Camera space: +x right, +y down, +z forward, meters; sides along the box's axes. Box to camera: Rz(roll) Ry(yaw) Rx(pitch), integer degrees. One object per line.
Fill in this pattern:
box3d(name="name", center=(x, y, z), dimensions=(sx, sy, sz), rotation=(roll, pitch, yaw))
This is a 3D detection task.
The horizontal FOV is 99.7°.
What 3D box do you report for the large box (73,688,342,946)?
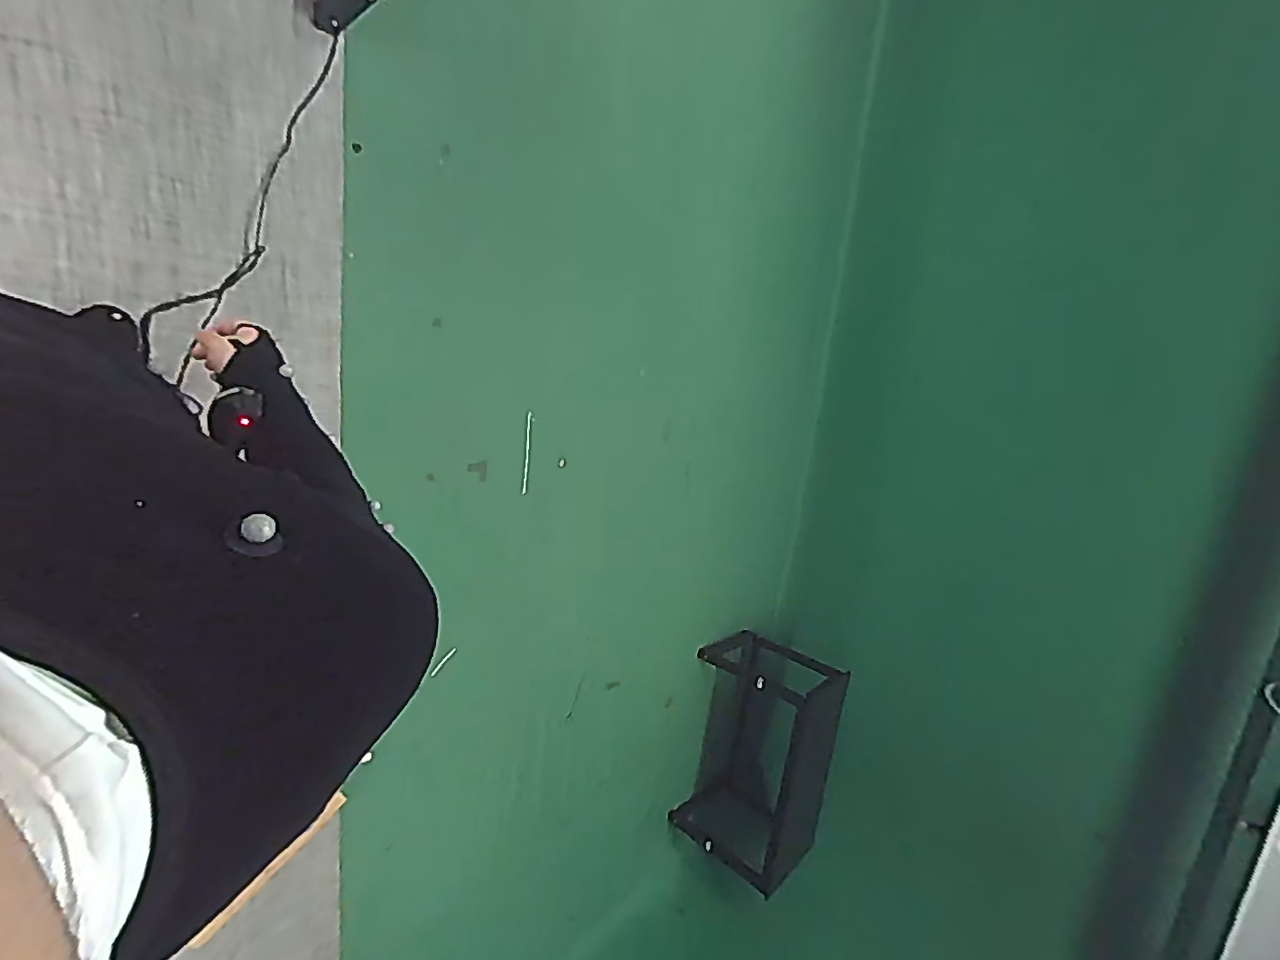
box3d(name="large box", center=(-1.082, 0.831, 1.377), dimensions=(0.408, 0.320, 0.320), rotation=(-45, 133, -32))
